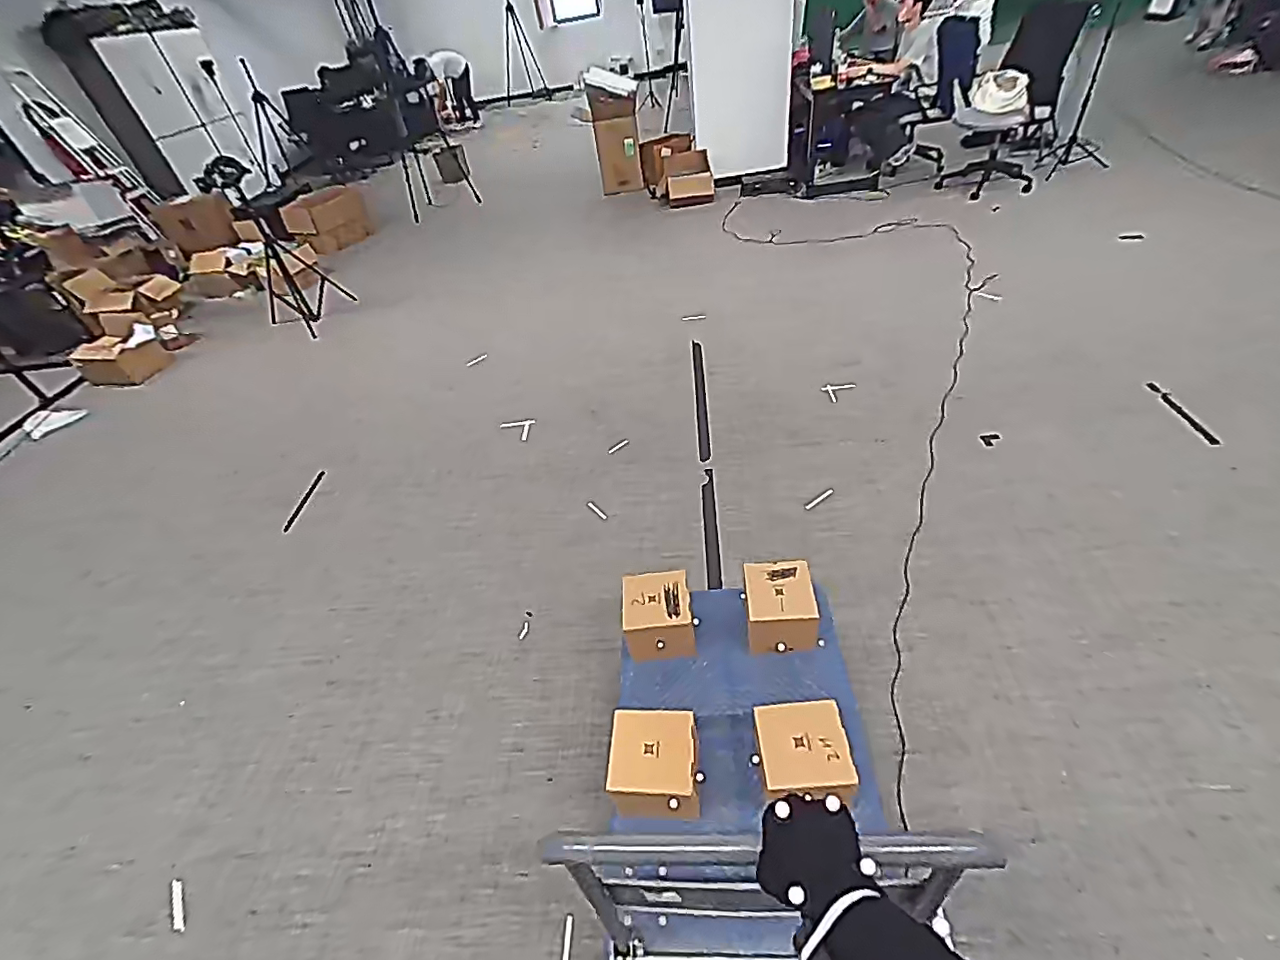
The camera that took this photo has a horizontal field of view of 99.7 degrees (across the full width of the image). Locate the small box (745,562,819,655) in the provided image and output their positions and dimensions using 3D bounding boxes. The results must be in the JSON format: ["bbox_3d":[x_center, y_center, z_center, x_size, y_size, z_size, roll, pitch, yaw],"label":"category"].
[{"bbox_3d":[0.365,0.338,1.417,0.168,0.176,0.179,-5,44,8],"label":"small box"}]

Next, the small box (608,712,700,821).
[{"bbox_3d":[0.037,0.625,1.179,0.179,0.176,0.168,-2,42,8],"label":"small box"}]

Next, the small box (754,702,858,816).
[{"bbox_3d":[0.344,0.593,1.144,0.179,0.176,0.168,-7,42,5],"label":"small box"}]
